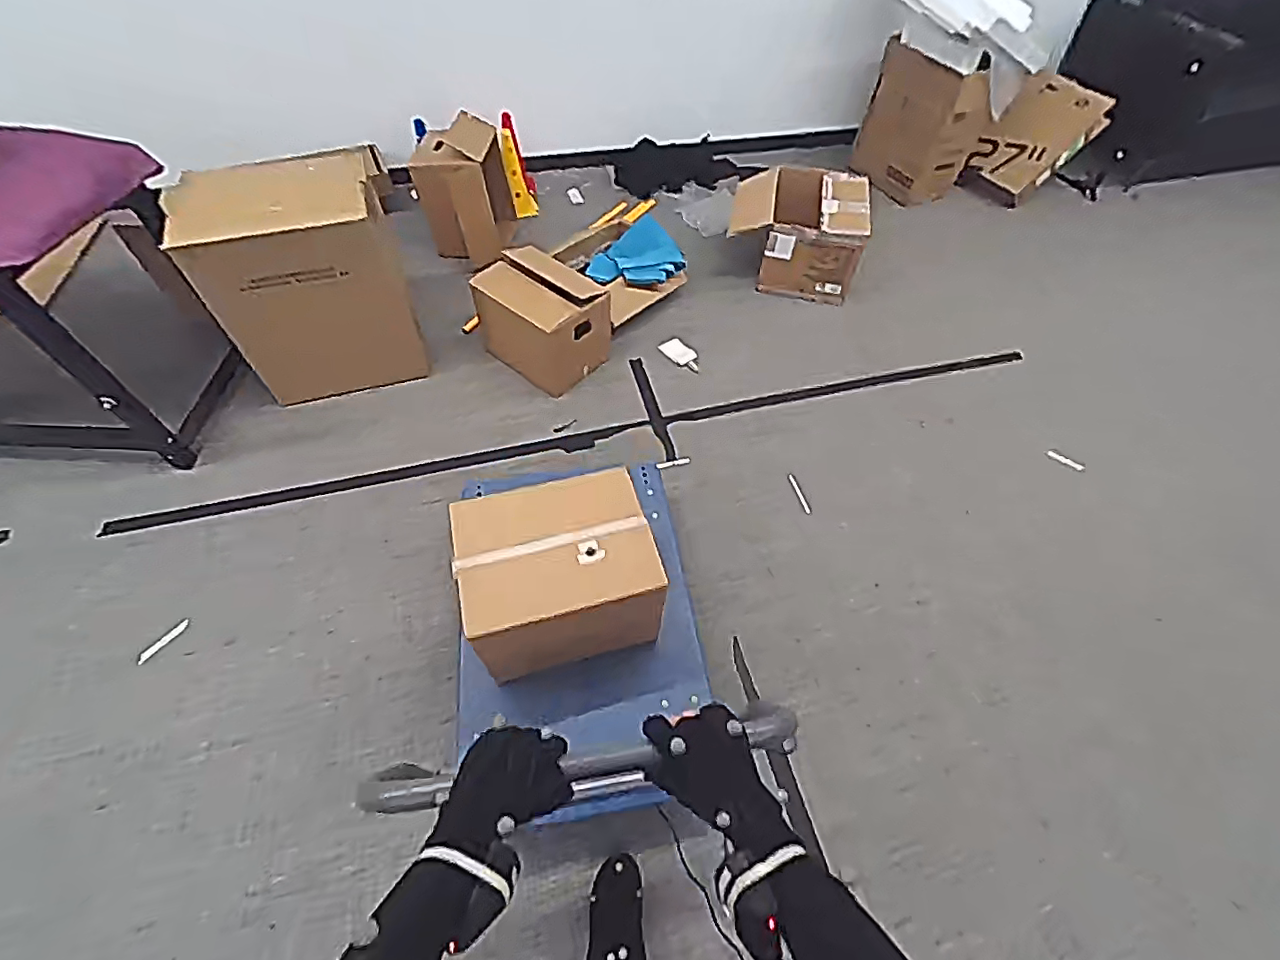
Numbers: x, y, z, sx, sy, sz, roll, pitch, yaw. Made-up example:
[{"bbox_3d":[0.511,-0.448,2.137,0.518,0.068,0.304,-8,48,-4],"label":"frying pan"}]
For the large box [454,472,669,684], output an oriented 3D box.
[{"bbox_3d":[-0.180,0.229,1.256,0.408,0.320,0.320,-12,56,-12],"label":"large box"}]
